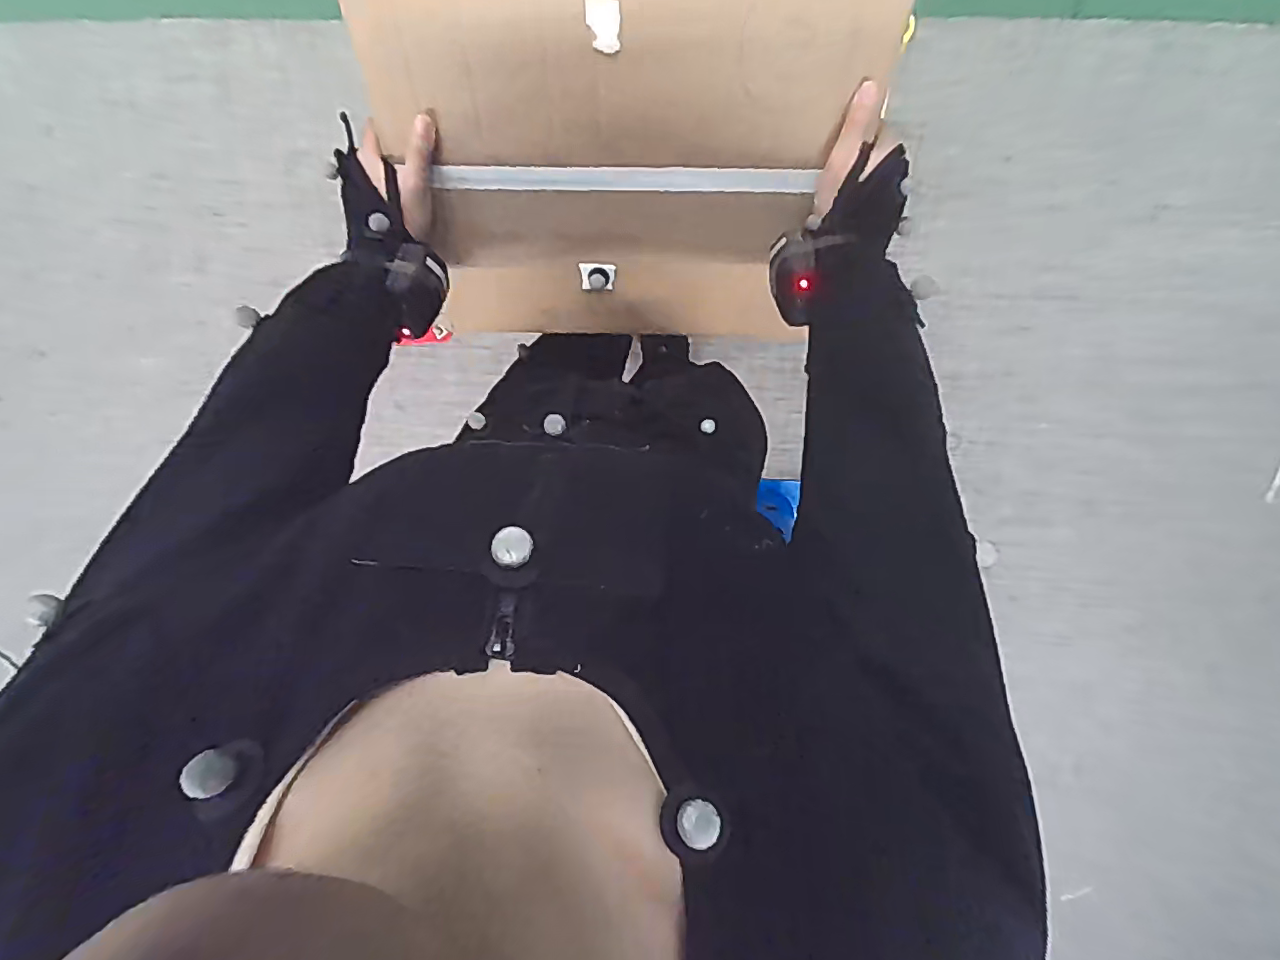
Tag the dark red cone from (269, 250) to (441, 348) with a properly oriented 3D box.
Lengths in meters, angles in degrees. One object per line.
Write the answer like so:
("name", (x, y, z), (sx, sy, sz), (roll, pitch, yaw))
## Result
("dark red cone", (-0.576, -0.367, 1.083), (0.202, 0.394, 0.201), (-3, 105, 7))
